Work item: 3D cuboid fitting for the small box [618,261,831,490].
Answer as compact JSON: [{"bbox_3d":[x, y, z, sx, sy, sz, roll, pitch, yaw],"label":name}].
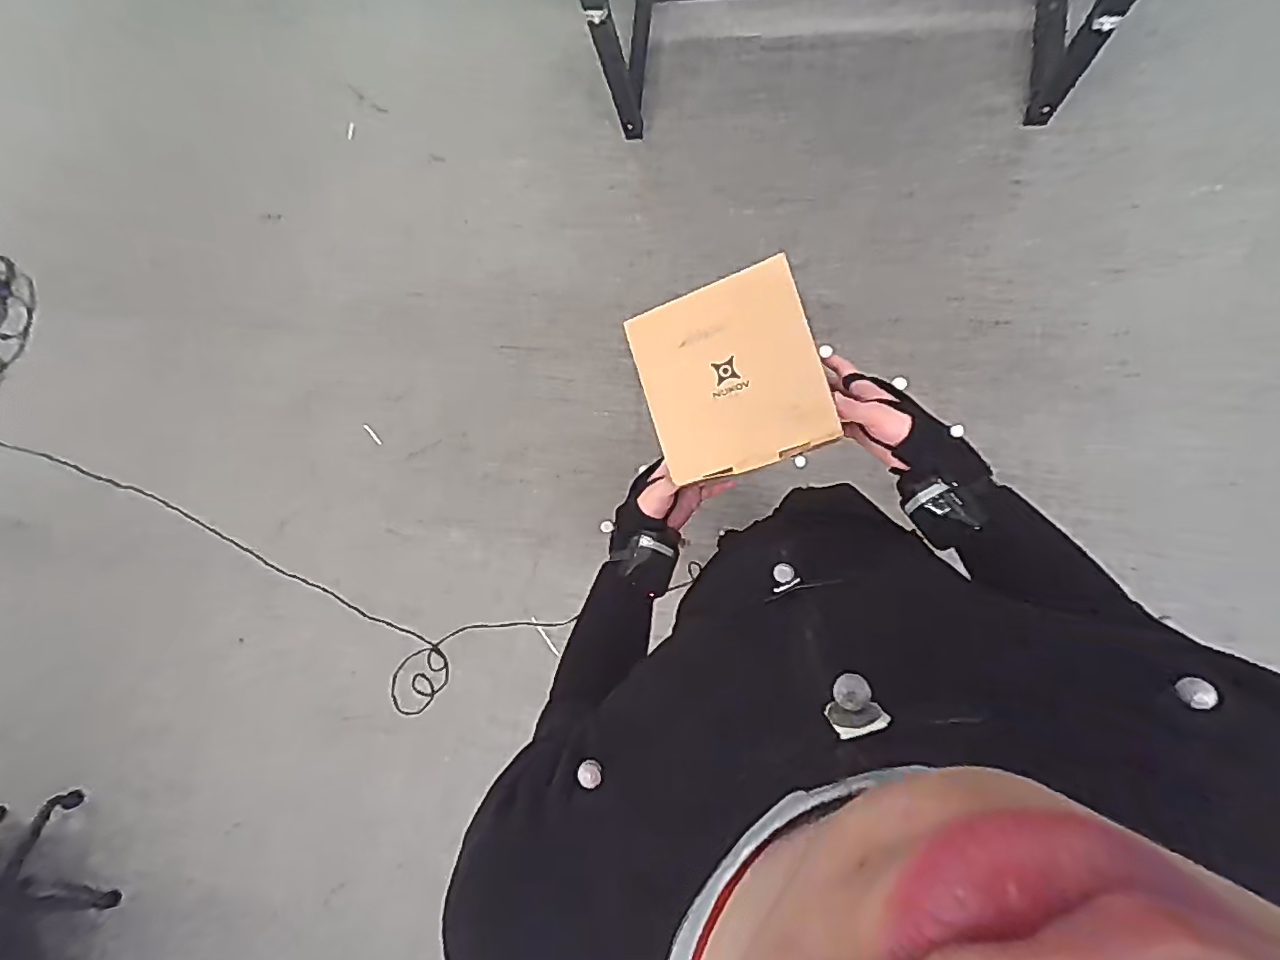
[{"bbox_3d":[0.101,-0.098,0.584,0.168,0.176,0.179,-18,85,18],"label":"small box"}]
